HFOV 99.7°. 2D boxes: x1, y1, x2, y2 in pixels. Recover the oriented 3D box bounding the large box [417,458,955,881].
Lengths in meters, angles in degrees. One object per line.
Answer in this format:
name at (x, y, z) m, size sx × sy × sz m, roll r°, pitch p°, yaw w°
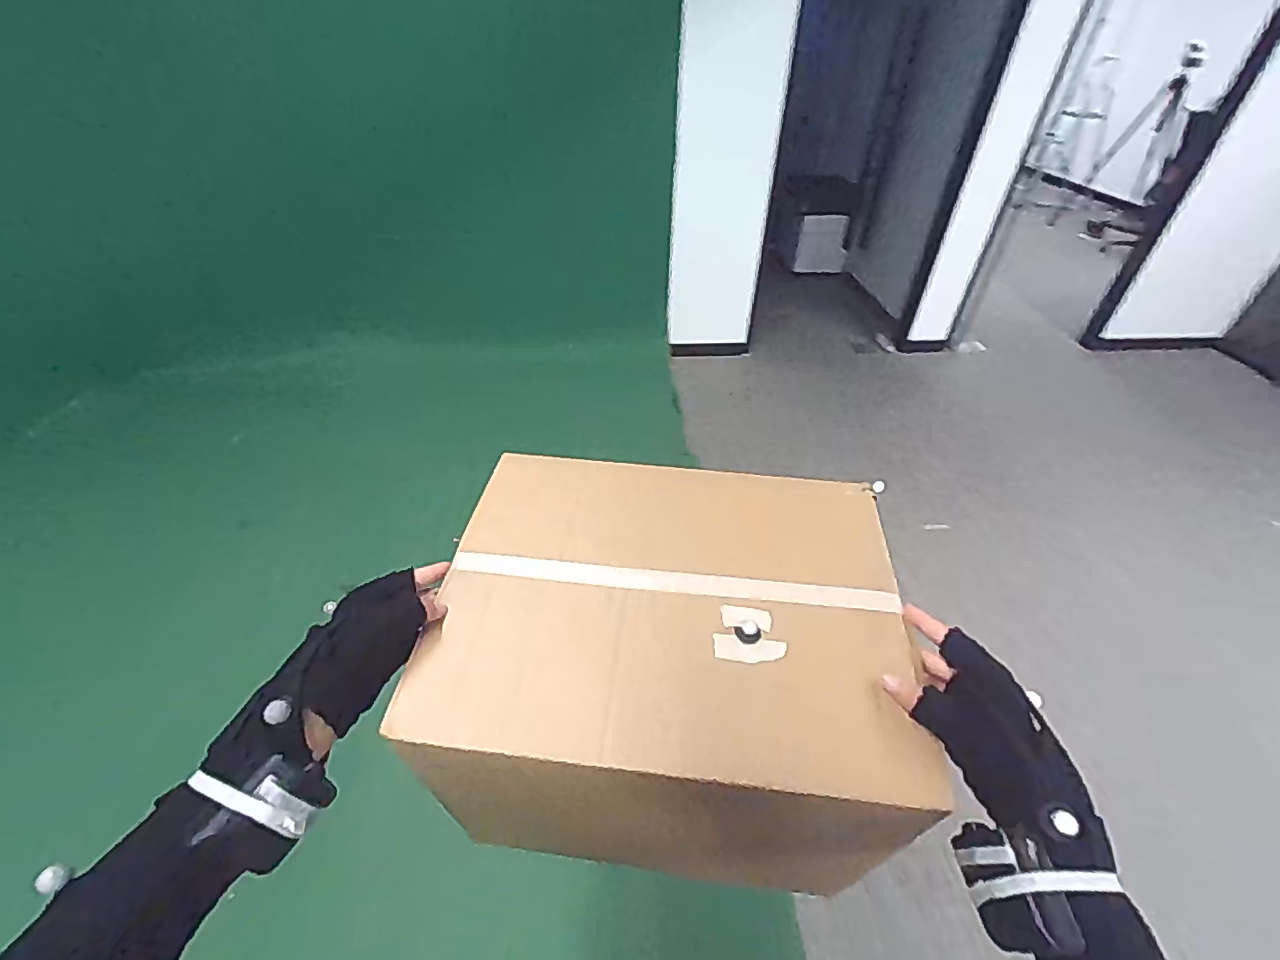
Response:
large box at (0.038, 0.204, 0.600) m, size 0.408 × 0.320 × 0.320 m, roll 6°, pitch 45°, yaw 4°
